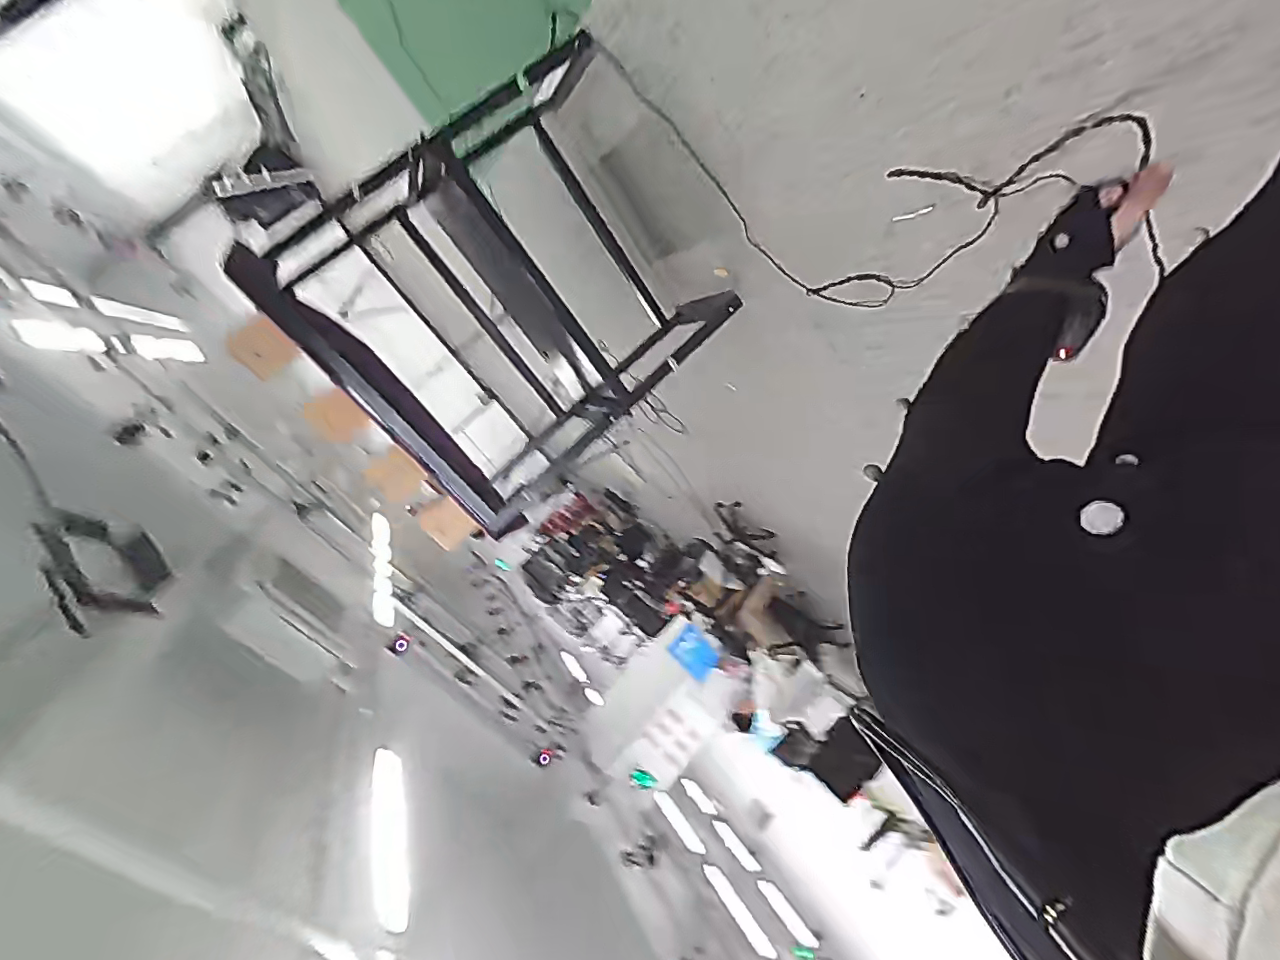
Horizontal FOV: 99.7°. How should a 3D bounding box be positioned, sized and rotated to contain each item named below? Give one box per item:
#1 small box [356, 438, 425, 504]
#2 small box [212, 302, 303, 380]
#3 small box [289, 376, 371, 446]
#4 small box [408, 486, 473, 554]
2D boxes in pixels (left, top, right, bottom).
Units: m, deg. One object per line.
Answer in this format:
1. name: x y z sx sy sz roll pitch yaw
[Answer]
1. small box: -0.917 -0.038 1.995 0.168 0.176 0.179 53 166 -24
2. small box: -1.225 -0.450 1.749 0.179 0.176 0.168 53 165 -29
3. small box: -1.069 -0.245 1.876 0.179 0.176 0.168 52 168 -26
4. small box: -0.774 0.152 2.102 0.179 0.176 0.168 54 166 -24
